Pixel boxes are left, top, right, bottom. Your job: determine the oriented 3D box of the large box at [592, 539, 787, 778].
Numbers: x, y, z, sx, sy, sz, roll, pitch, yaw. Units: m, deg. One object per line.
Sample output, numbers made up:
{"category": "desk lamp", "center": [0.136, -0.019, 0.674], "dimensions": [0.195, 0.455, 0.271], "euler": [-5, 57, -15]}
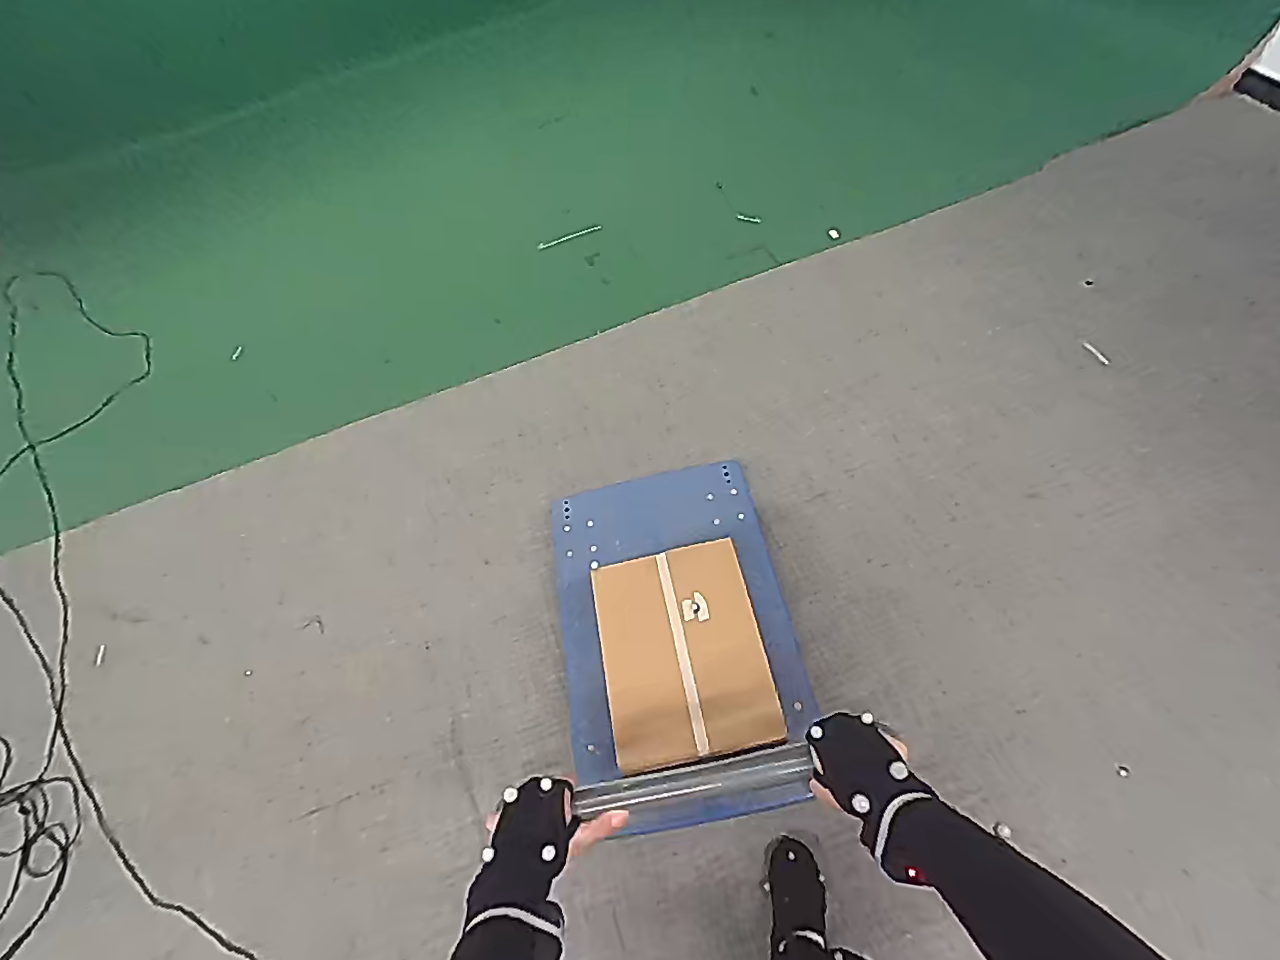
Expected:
{"category": "large box", "center": [0.104, 0.400, 1.193], "dimensions": [0.320, 0.320, 0.408], "euler": [-13, 58, 2]}
